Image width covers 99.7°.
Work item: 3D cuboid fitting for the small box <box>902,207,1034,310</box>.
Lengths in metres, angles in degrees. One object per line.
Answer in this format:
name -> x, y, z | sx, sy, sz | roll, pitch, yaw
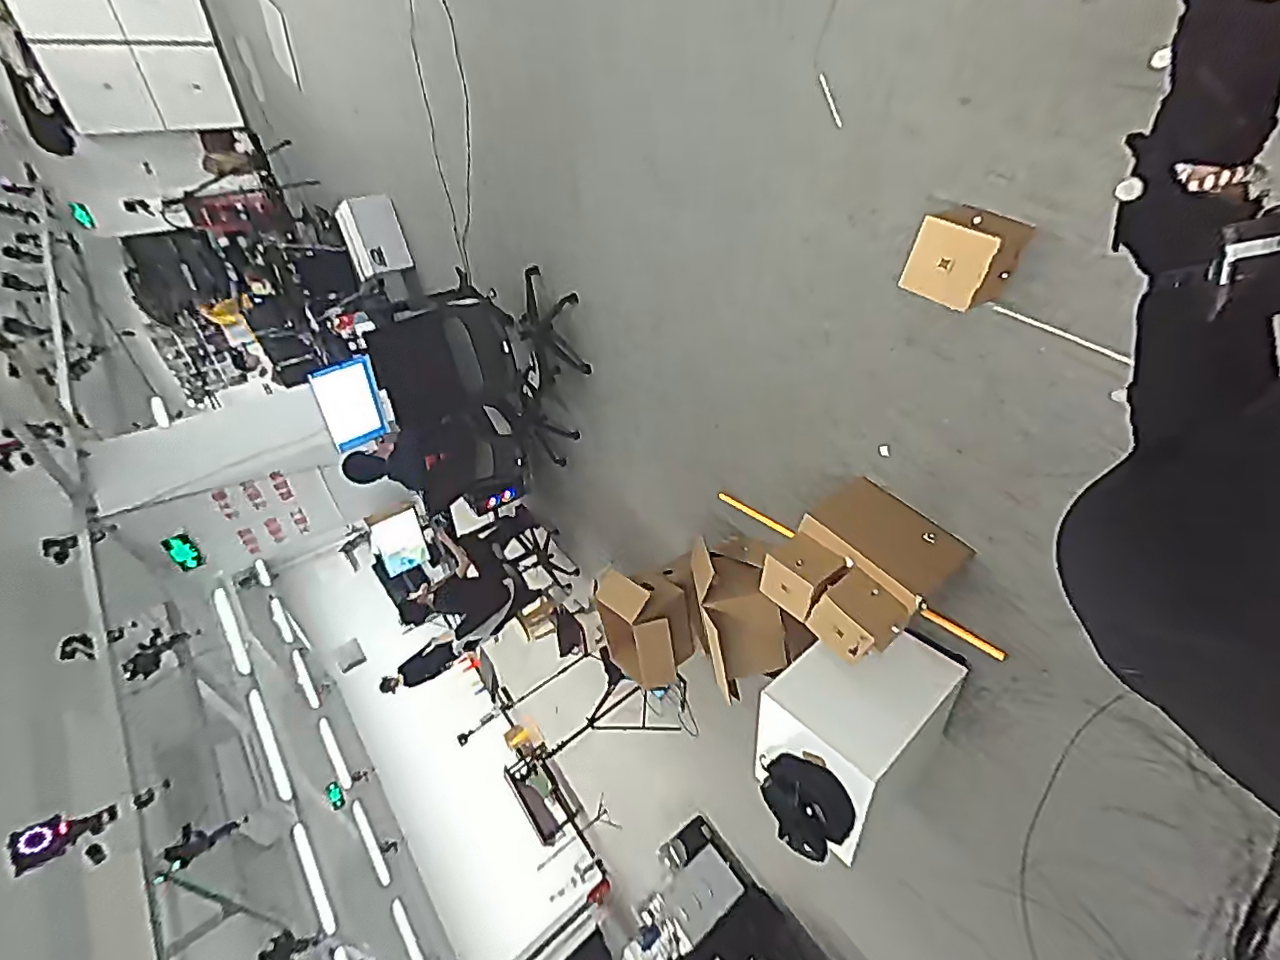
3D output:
small box -> 0.757, -0.520, 1.255 | 0.179, 0.176, 0.168 | 40, 143, 32
